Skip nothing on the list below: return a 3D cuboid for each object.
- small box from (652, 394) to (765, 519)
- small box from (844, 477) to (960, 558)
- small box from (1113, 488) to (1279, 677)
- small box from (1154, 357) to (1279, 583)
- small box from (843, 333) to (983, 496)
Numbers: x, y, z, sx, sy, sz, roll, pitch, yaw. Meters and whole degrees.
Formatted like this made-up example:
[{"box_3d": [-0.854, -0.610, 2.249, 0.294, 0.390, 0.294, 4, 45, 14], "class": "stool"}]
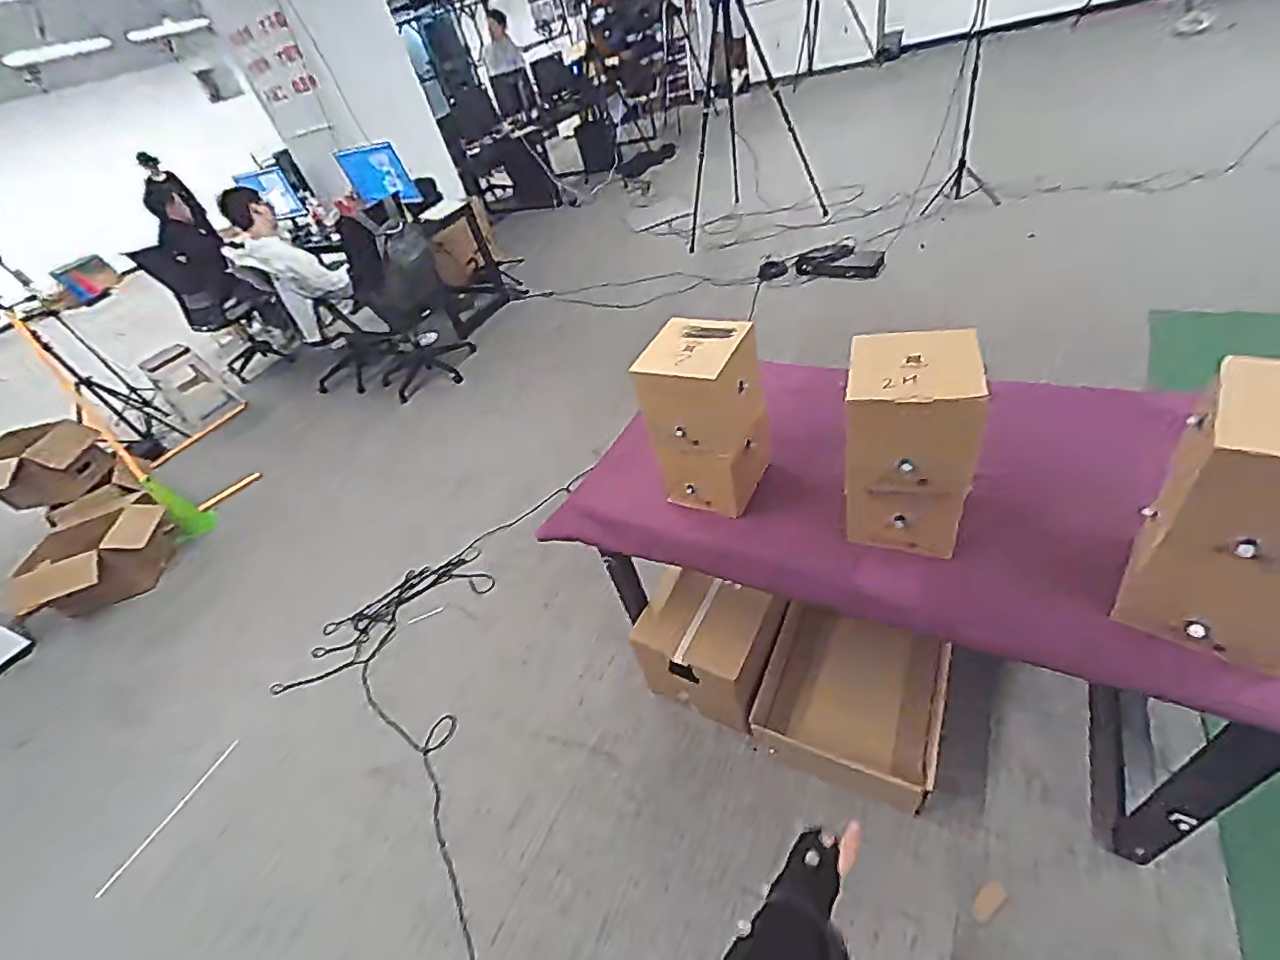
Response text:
[{"box_3d": [0.148, -0.050, 1.099, 0.168, 0.176, 0.179, 13, 49, 31], "class": "small box"}, {"box_3d": [0.450, 0.009, 0.920, 0.168, 0.176, 0.179, 8, 46, 27], "class": "small box"}, {"box_3d": [0.748, 0.111, 0.693, 0.168, 0.176, 0.179, 21, 55, 38], "class": "small box"}, {"box_3d": [0.705, -0.008, 0.591, 0.168, 0.176, 0.179, 18, 52, 37], "class": "small box"}, {"box_3d": [0.395, -0.098, 0.804, 0.168, 0.176, 0.179, 2, 44, 24], "class": "small box"}]
